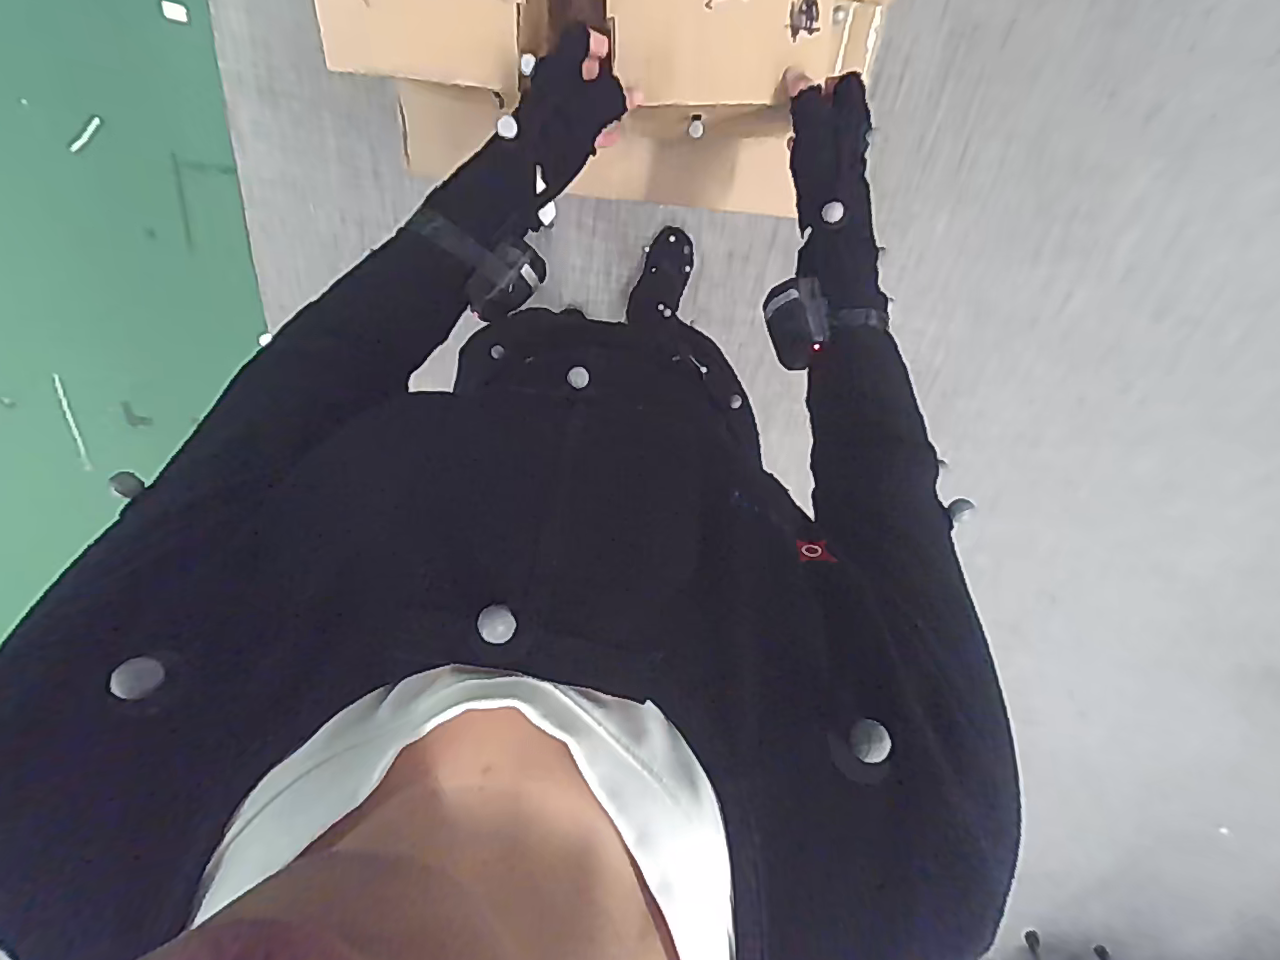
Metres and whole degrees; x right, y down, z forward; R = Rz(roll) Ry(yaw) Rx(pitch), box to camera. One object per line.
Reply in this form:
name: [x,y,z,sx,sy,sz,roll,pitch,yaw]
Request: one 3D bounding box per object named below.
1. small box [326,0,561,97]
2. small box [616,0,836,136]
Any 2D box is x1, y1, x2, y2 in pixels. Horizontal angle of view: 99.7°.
small box: [-0.170,-0.465,0.503,0.179,0.176,0.168,6,123,2]
small box: [0.076,-0.424,0.494,0.179,0.176,0.168,3,114,4]
